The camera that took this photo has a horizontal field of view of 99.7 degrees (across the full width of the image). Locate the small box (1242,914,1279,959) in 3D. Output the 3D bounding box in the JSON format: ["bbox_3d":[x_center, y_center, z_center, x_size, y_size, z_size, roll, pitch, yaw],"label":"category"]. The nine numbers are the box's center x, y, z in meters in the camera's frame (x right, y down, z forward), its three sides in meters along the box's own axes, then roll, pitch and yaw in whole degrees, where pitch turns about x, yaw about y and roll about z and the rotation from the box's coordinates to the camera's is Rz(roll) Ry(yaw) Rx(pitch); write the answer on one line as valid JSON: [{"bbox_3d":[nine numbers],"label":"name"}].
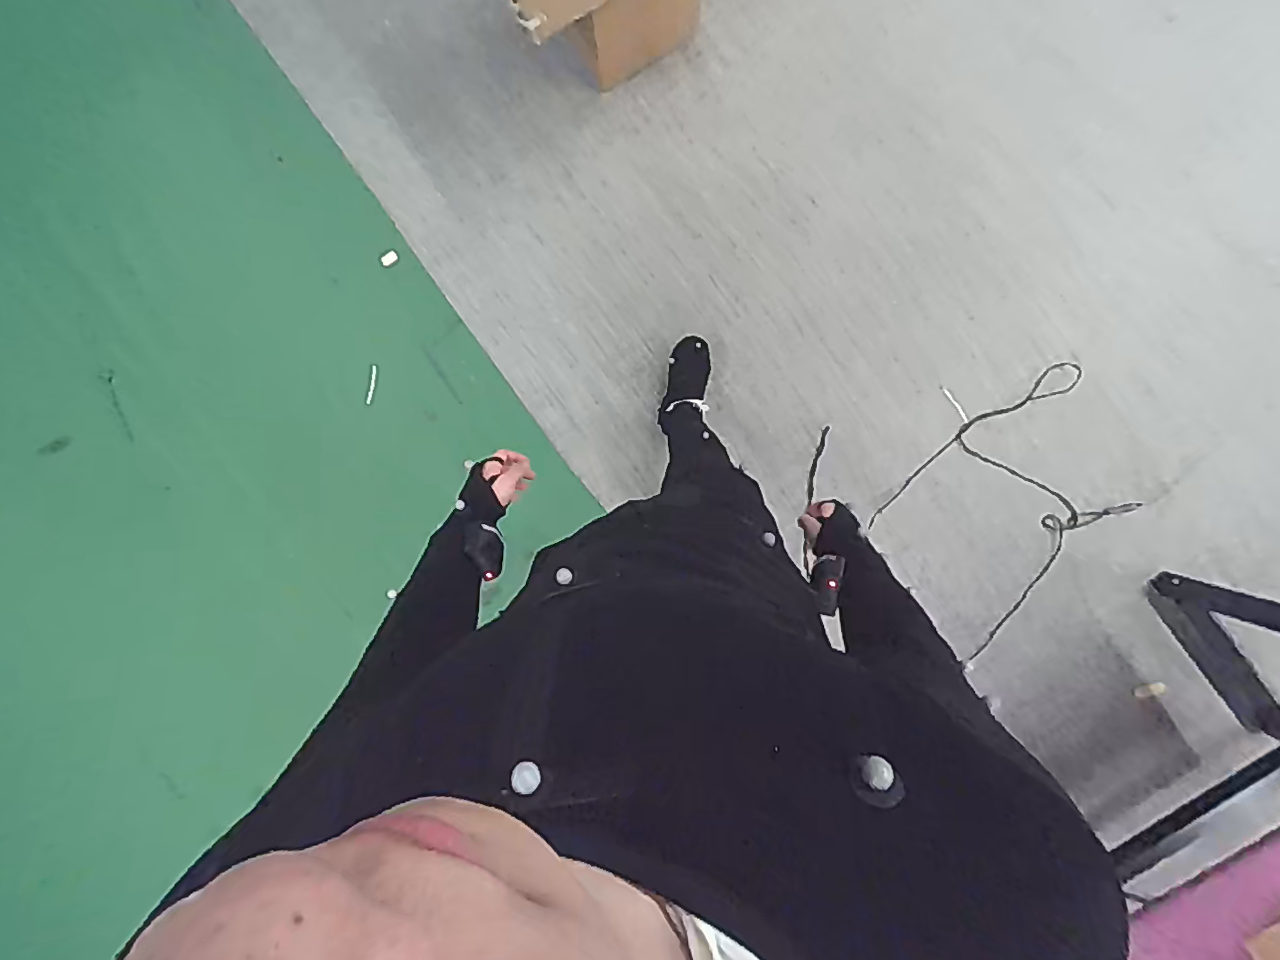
[{"bbox_3d":[1.091,0.781,0.804,0.168,0.176,0.179,-35,93,4],"label":"small box"}]
